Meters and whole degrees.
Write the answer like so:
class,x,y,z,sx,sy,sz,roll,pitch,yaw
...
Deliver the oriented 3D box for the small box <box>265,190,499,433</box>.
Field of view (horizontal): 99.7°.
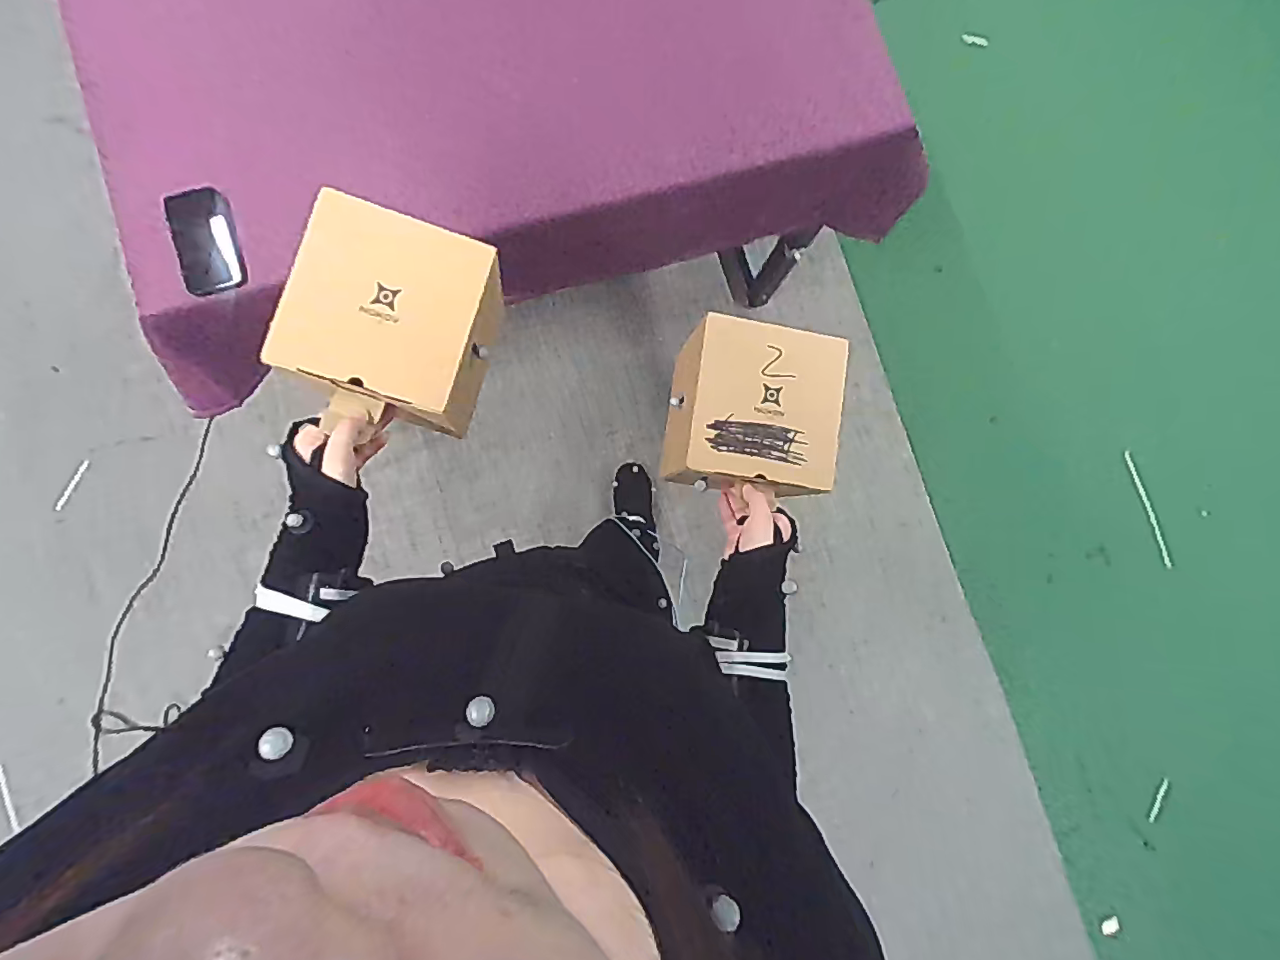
class,x,y,z,sx,sy,sz,roll,pitch,yaw
small box,-0.256,-0.162,0.585,0.168,0.176,0.179,16,85,-12
